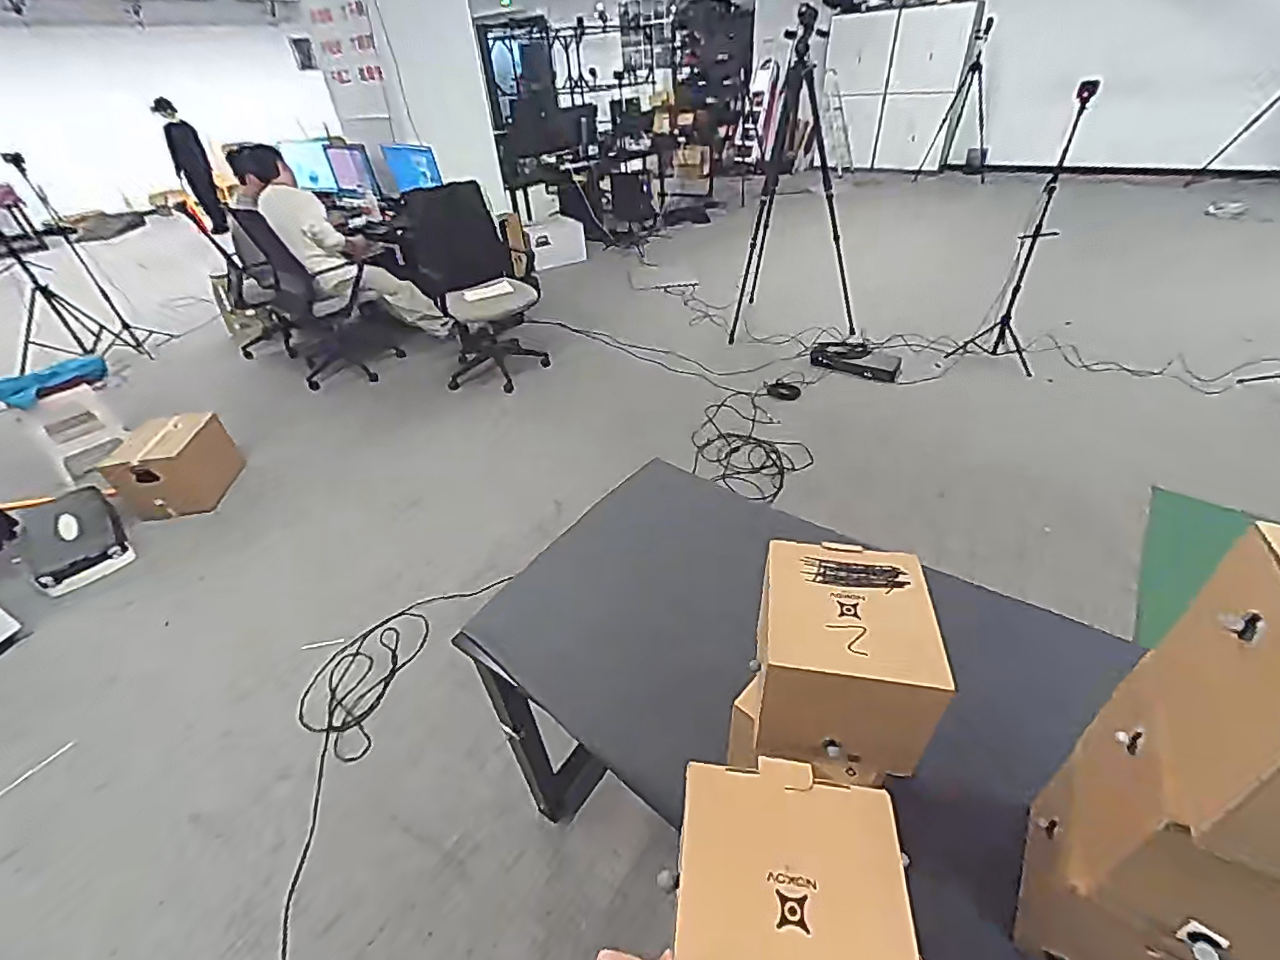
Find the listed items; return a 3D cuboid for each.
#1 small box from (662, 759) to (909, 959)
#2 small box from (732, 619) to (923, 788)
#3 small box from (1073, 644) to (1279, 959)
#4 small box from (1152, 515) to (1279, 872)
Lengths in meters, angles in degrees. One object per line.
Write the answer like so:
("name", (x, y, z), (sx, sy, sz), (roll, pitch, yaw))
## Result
("small box", (0.107, 0.361, 0.440), (0.168, 0.176, 0.179), (4, 40, 8))
("small box", (0.233, 0.326, 0.705), (0.168, 0.176, 0.179), (28, 46, 36))
("small box", (0.498, 0.284, 0.458), (0.168, 0.176, 0.179), (17, 41, 28))
("small box", (0.486, 0.155, 0.355), (0.168, 0.176, 0.179), (14, 39, 26))
